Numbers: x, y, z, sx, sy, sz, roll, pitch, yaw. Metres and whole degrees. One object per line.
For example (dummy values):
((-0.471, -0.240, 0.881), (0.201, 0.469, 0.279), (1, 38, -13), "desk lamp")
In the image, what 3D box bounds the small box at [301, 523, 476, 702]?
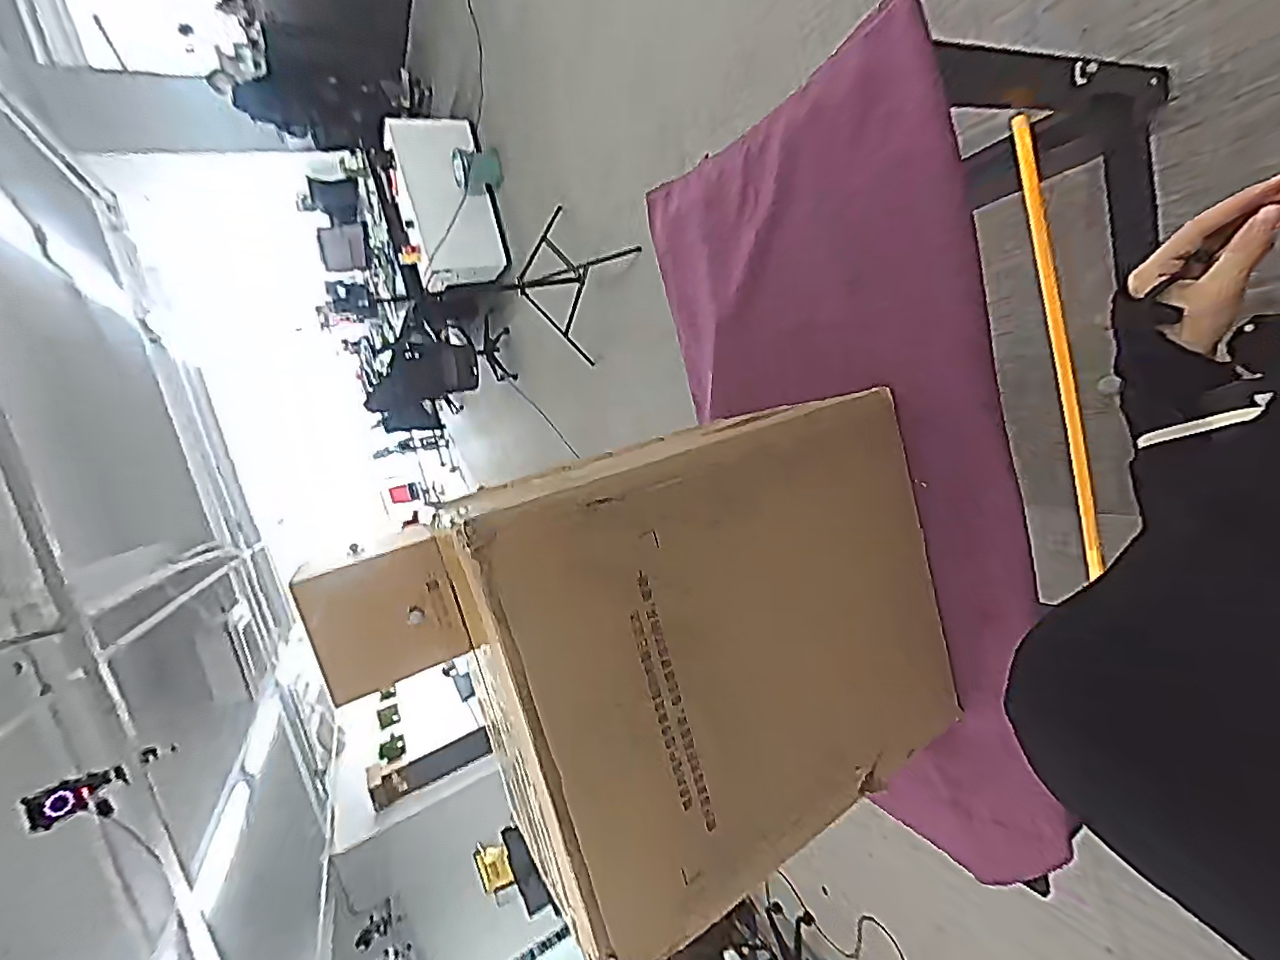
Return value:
((-0.339, 0.166, 0.745), (0.179, 0.176, 0.168), (2, 109, 62), "small box")
